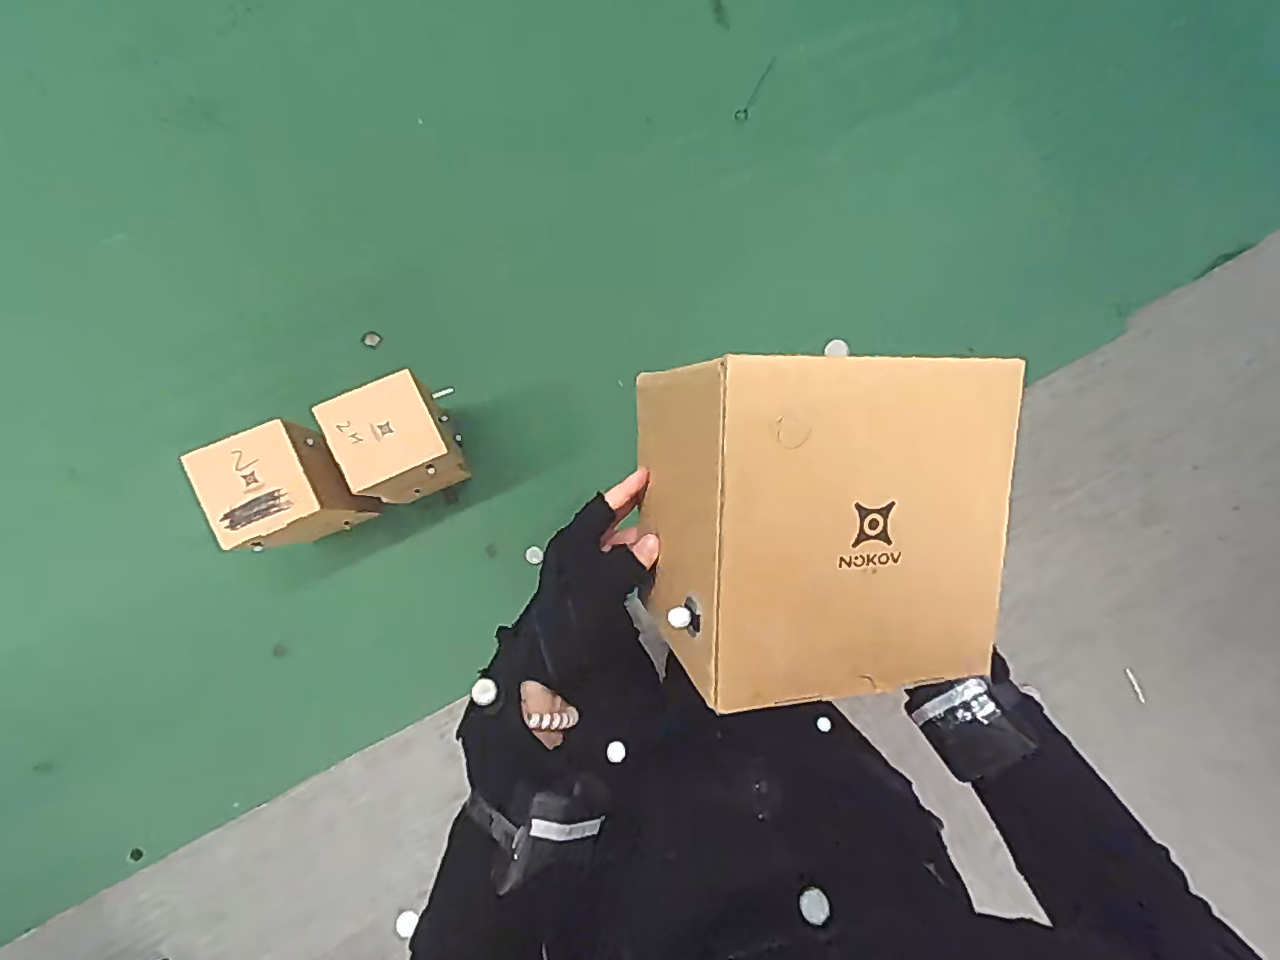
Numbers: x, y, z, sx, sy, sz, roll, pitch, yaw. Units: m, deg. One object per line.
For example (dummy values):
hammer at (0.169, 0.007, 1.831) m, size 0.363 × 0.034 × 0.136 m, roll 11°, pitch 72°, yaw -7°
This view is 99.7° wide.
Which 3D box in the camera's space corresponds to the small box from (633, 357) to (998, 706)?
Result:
small box at (0.092, 0.014, 0.356) m, size 0.168 × 0.176 × 0.179 m, roll -3°, pitch 100°, yaw -13°
